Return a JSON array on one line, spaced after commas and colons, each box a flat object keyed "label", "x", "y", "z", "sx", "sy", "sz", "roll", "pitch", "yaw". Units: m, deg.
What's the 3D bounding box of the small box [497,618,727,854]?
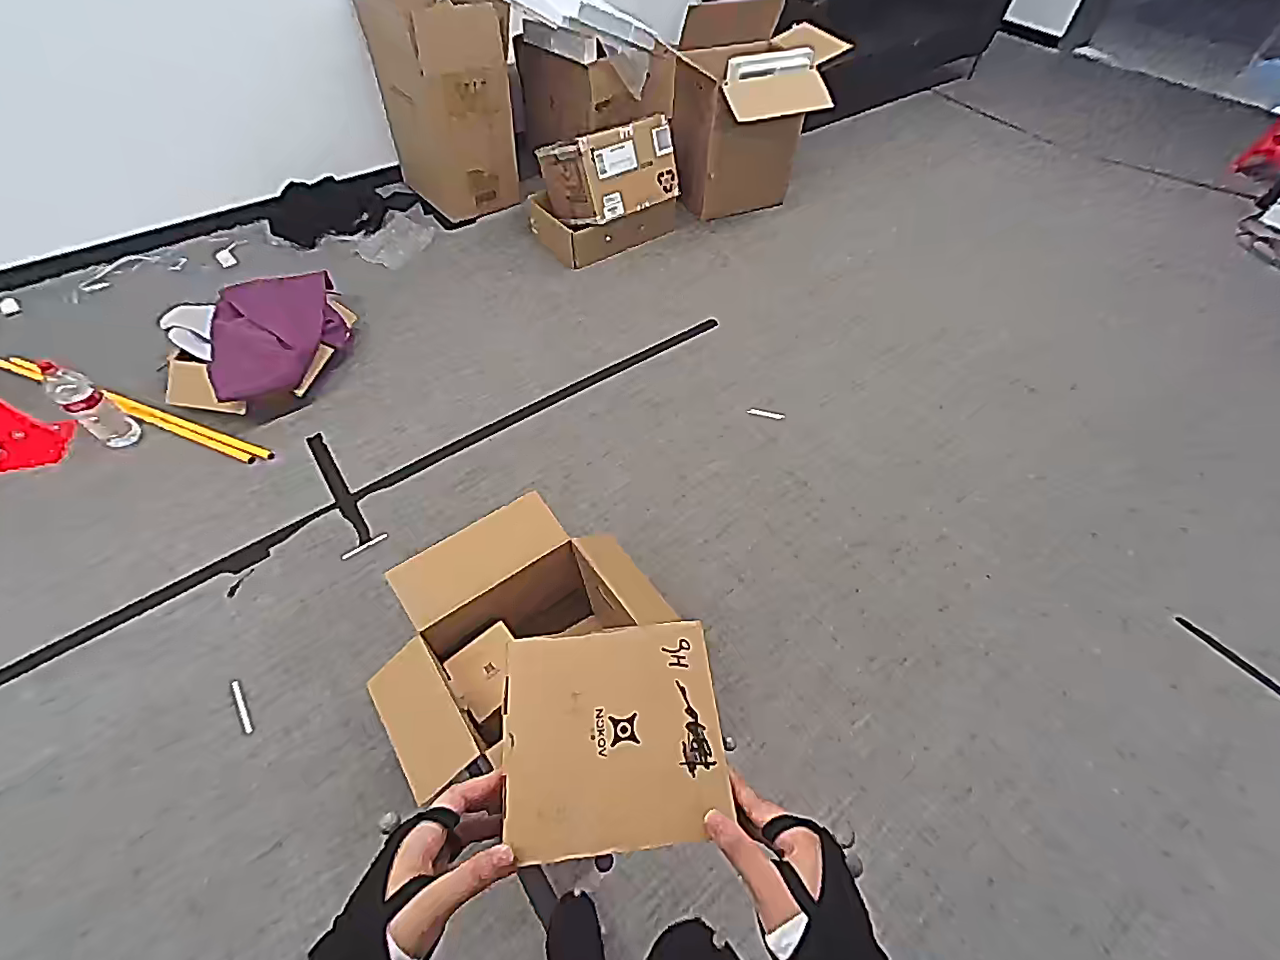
[{"label": "small box", "x": -0.027, "y": 0.244, "z": 0.510, "sx": 0.179, "sy": 0.176, "sz": 0.168, "roll": -5, "pitch": 58, "yaw": -4}]
